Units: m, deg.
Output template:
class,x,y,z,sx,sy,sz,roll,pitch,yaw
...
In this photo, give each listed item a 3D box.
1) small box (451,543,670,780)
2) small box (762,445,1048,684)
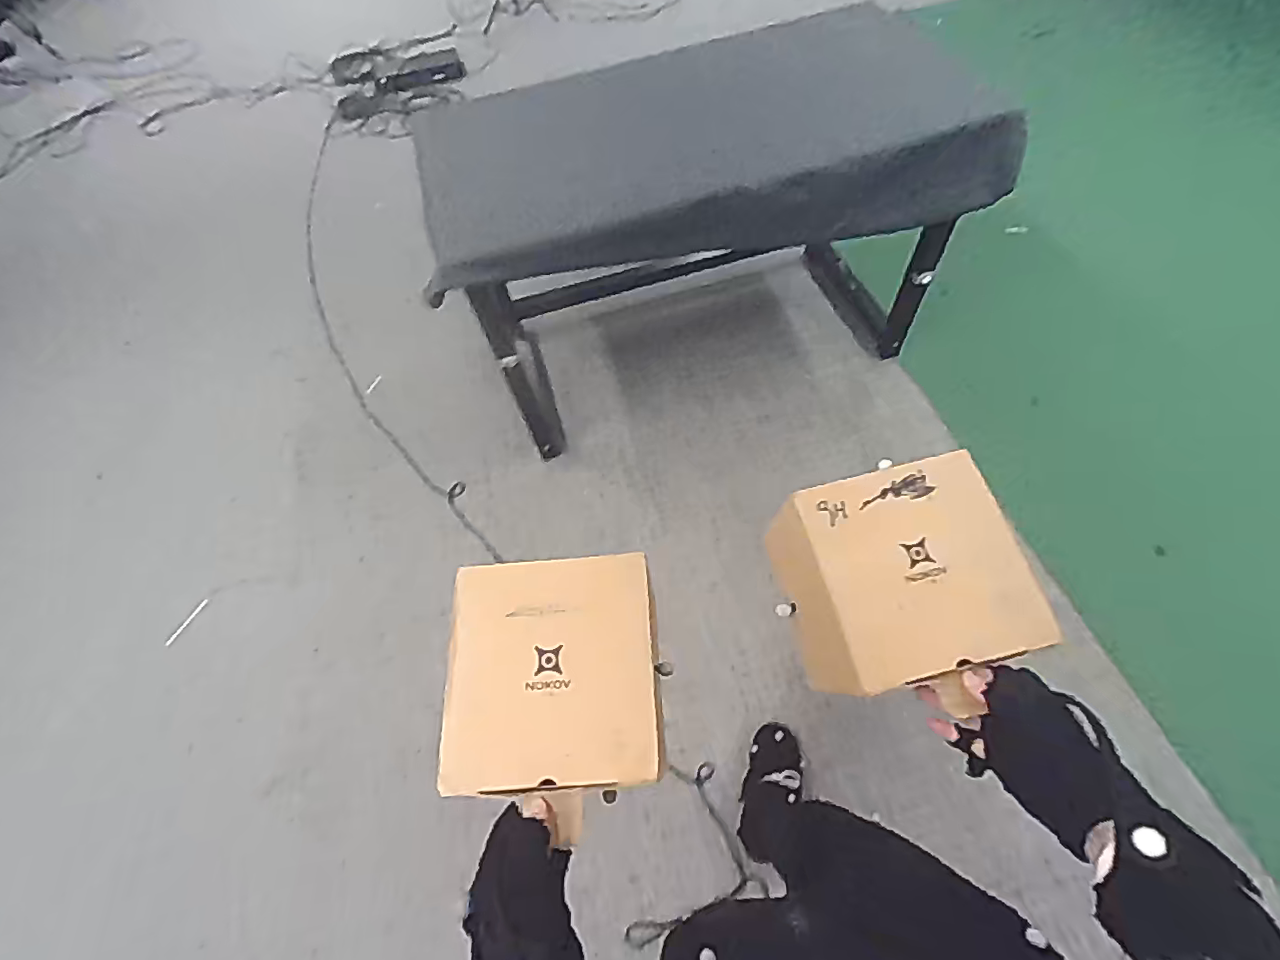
class,x,y,z,sx,sy,sz,roll,pitch,yaw
small box,-0.061,0.174,0.509,0.168,0.176,0.179,-5,63,2
small box,0.236,0.090,0.536,0.168,0.176,0.179,-14,71,-4
